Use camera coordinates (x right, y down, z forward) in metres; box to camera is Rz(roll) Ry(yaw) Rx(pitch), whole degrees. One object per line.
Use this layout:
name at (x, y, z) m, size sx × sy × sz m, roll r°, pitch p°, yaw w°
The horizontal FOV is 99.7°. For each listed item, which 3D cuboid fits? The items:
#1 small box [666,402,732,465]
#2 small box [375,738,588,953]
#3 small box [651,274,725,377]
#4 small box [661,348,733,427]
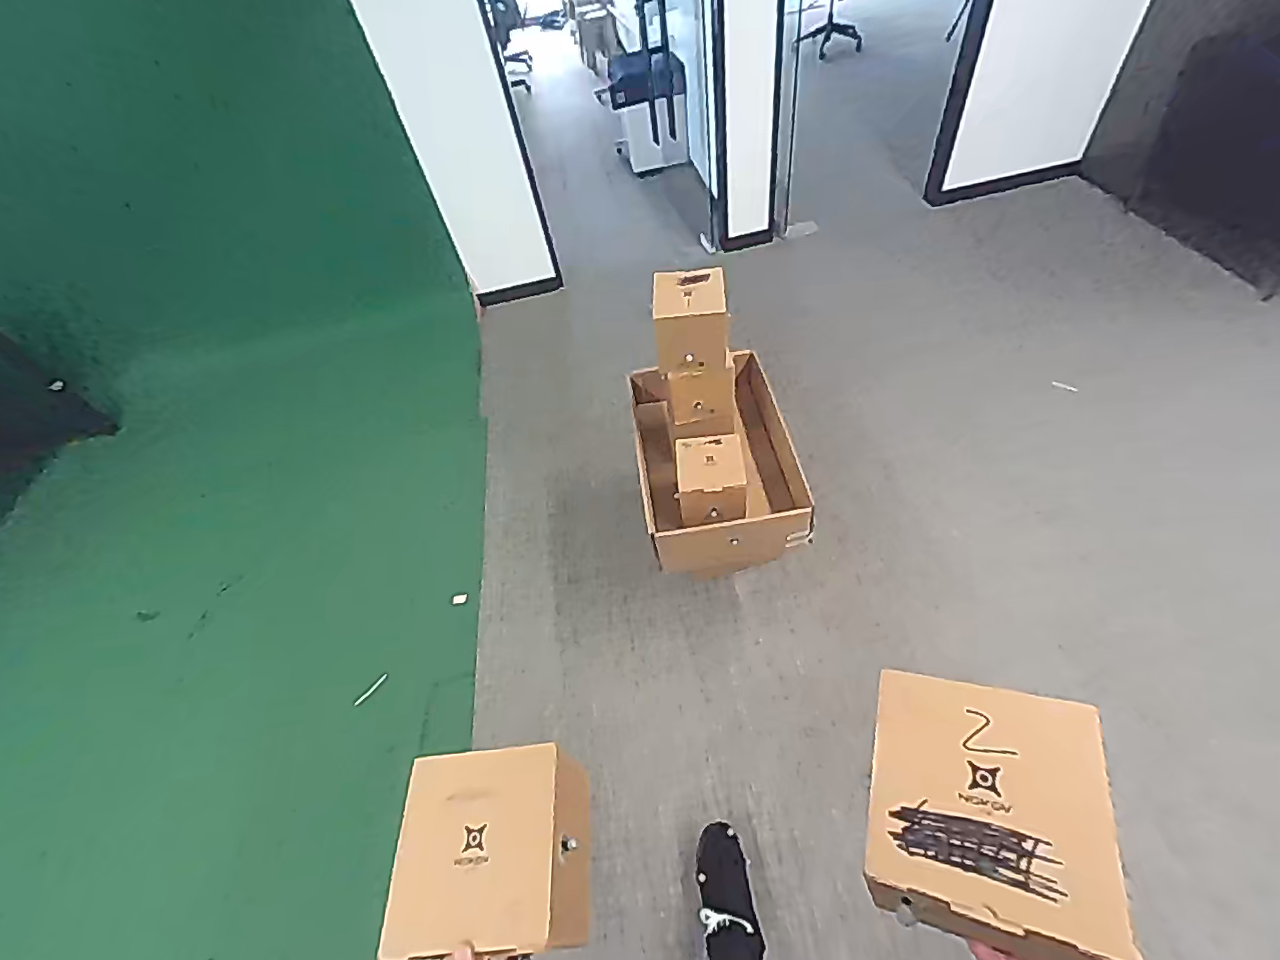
small box at (0.168, -0.169, 1.562) m, size 0.168 × 0.176 × 0.179 m, roll -11°, pitch 51°, yaw 2°
small box at (-0.157, 0.410, 0.607) m, size 0.168 × 0.176 × 0.179 m, roll -8°, pitch 49°, yaw 5°
small box at (0.118, -0.372, 1.311) m, size 0.168 × 0.176 × 0.179 m, roll -3°, pitch 52°, yaw 8°
small box at (0.146, -0.267, 1.435) m, size 0.168 × 0.176 × 0.179 m, roll -11°, pitch 51°, yaw 1°
